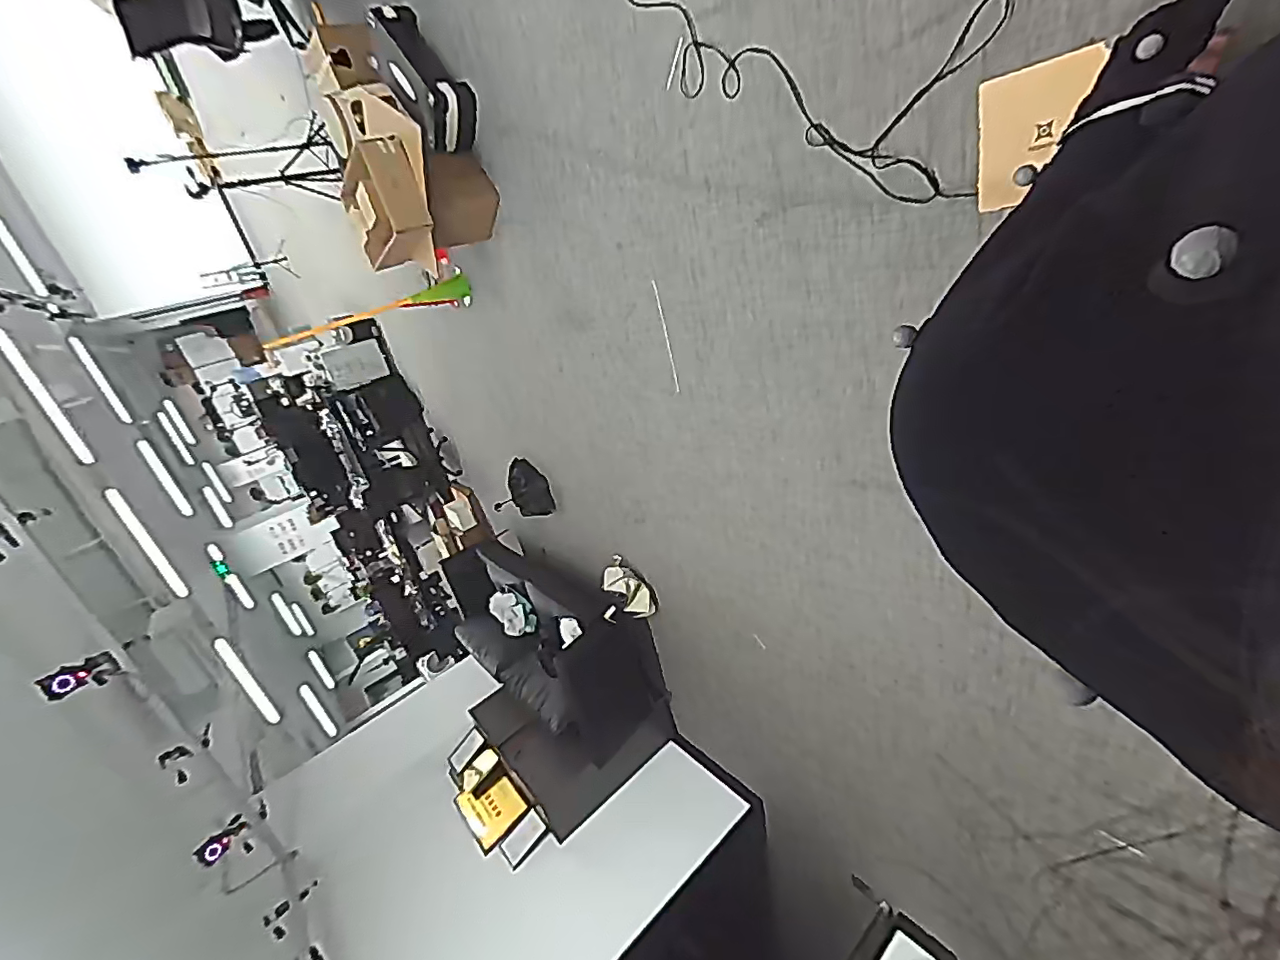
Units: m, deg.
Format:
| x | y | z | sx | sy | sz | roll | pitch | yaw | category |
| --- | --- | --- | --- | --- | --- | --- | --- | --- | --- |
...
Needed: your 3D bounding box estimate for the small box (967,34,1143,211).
| x | y | z | sx | sy | sz | roll | pitch | yaw | category |
| --- | --- | --- | --- | --- | --- | --- | --- | --- | --- |
| 0.607 | -0.521 | 0.797 | 0.168 | 0.176 | 0.179 | 16 | 131 | 49 | small box |
